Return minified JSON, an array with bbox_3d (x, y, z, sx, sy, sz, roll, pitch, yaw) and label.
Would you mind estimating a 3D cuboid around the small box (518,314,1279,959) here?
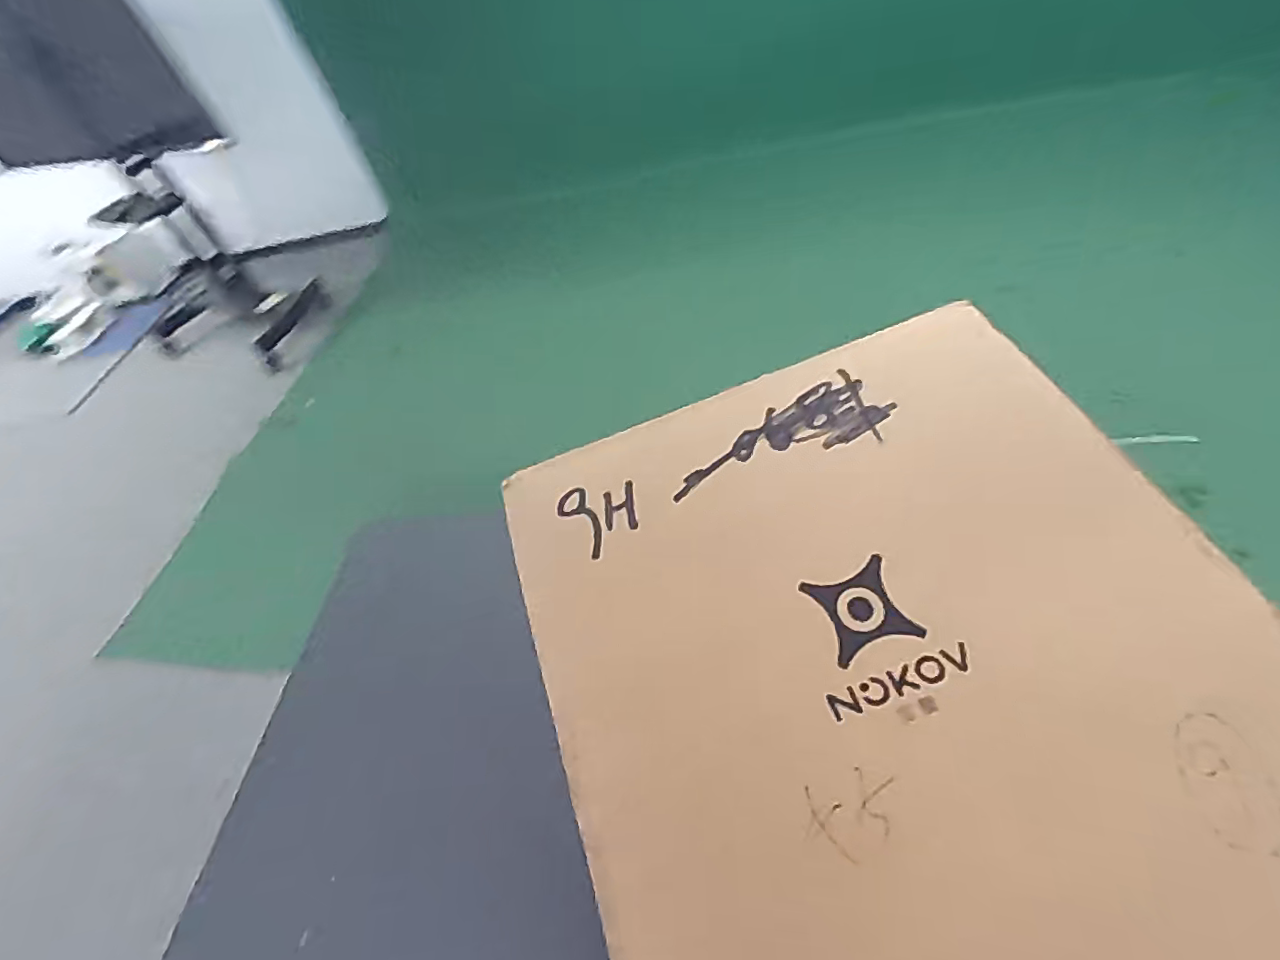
[{"bbox_3d":[0.074,0.079,0.208,0.168,0.176,0.179,-20,62,1],"label":"small box"}]
